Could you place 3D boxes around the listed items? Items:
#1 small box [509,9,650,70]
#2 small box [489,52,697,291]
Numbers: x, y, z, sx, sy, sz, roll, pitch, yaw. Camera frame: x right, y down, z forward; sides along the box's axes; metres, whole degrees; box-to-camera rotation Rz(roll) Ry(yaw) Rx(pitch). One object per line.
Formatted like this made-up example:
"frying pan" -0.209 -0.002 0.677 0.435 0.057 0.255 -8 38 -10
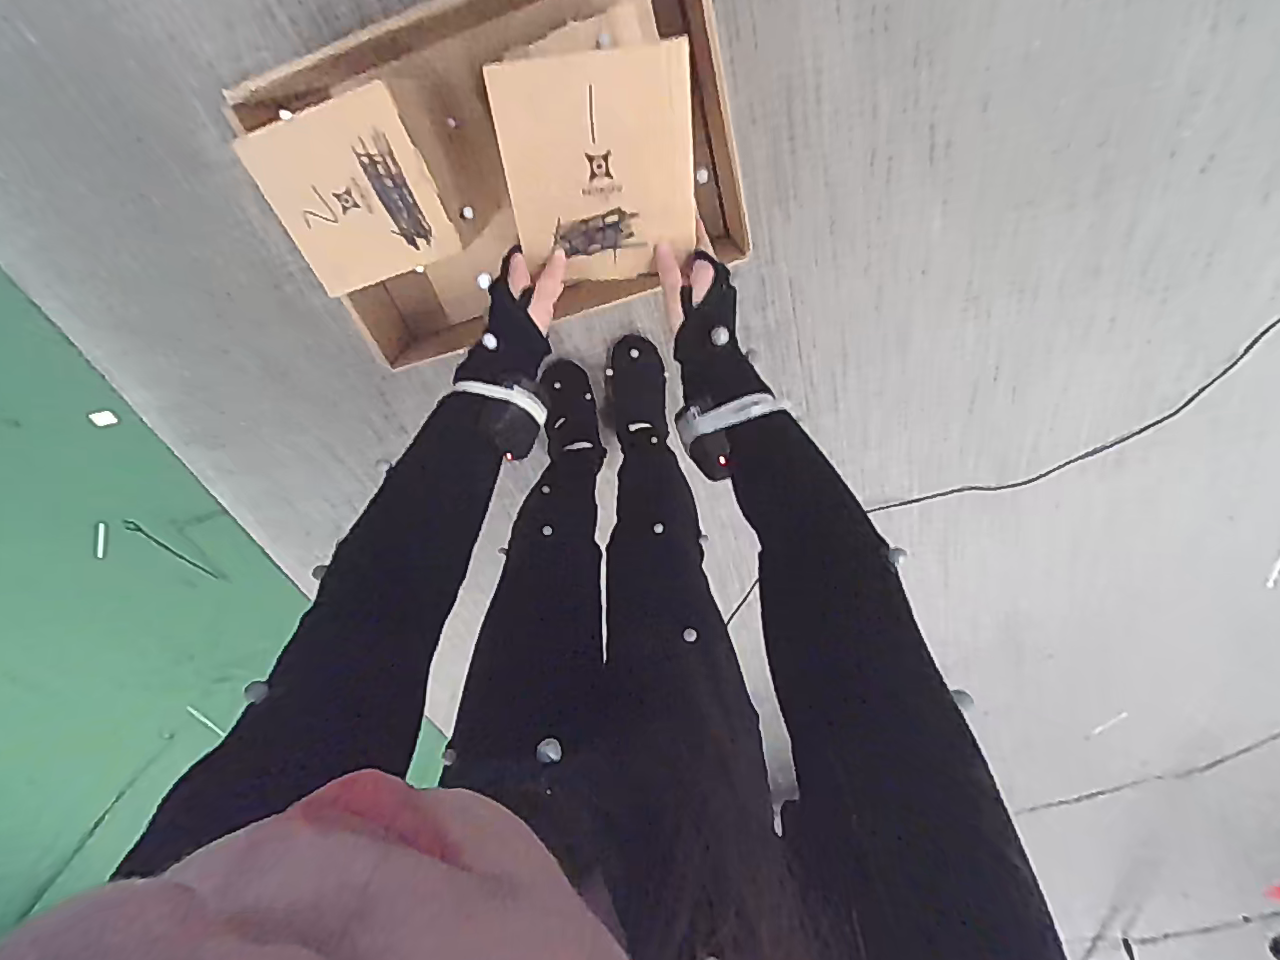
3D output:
"small box" -0.056 -0.503 0.742 0.168 0.176 0.179 -15 125 8
"small box" -0.028 -0.305 0.535 0.168 0.176 0.179 -3 126 6
